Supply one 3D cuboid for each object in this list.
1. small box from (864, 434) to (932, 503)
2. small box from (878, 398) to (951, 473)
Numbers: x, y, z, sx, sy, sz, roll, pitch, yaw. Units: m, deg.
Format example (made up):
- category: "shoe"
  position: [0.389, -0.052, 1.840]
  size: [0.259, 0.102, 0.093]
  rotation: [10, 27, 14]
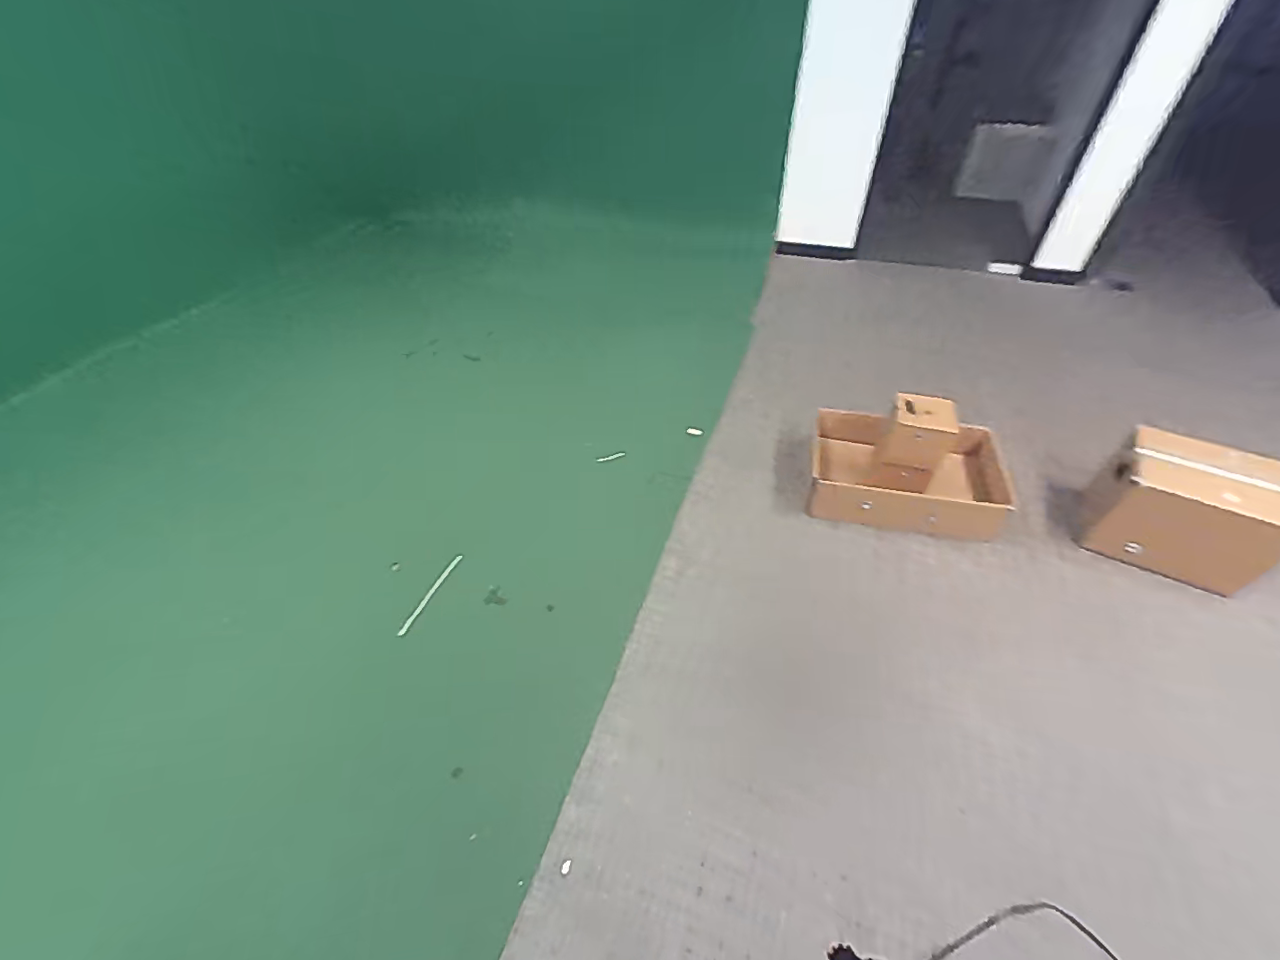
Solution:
- category: "small box"
  position: [0.902, -0.038, 1.909]
  size: [0.179, 0.176, 0.168]
  rotation: [10, 47, 10]
- category: "small box"
  position: [0.897, -0.145, 1.783]
  size: [0.179, 0.176, 0.168]
  rotation: [12, 47, 12]
